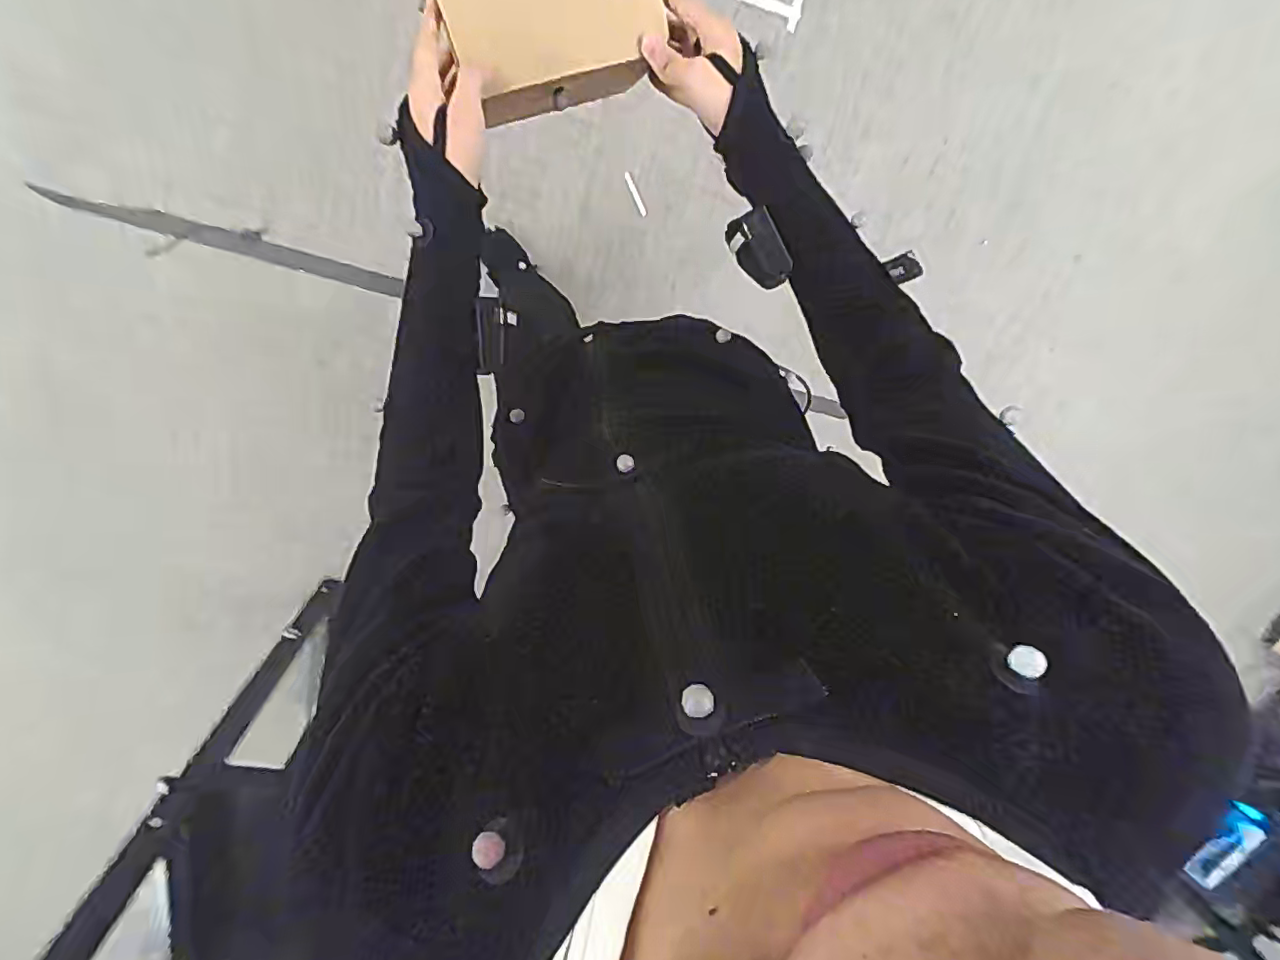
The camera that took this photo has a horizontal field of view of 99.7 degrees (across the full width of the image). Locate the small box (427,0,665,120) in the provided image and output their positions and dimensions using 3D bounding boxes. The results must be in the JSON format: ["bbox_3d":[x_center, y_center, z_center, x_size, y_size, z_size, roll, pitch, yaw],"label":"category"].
[{"bbox_3d":[-0.098,-0.436,0.470,0.179,0.176,0.168,-20,119,-8],"label":"small box"}]
